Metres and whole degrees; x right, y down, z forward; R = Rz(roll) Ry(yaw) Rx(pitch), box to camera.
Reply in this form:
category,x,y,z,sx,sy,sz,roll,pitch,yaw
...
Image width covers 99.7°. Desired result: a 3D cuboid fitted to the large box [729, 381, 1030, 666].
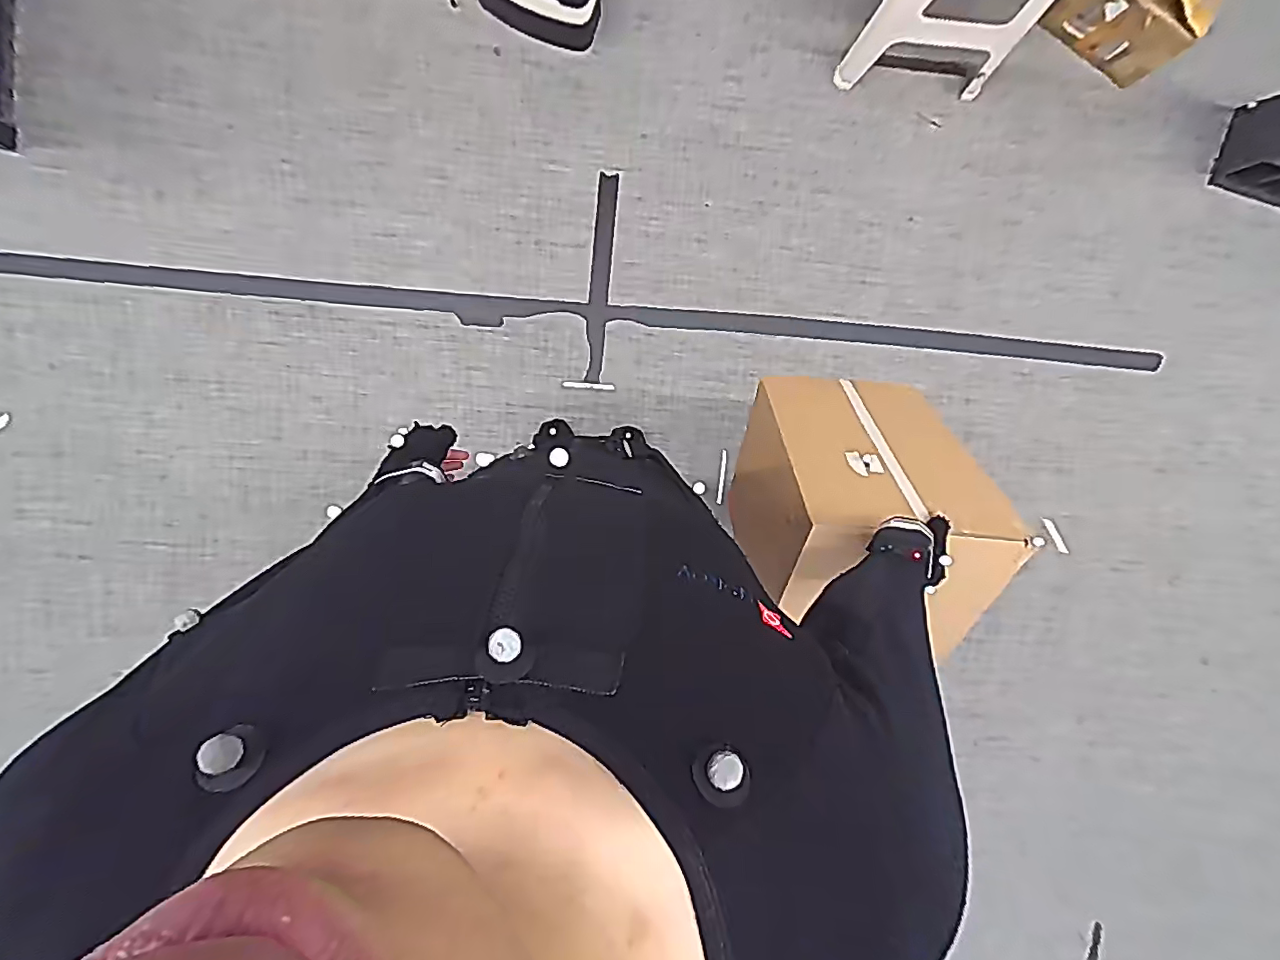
category,x,y,z,sx,sy,sz,roll,pitch,yaw
large box,0.366,0.068,0.974,0.320,0.408,0.320,4,131,-4
